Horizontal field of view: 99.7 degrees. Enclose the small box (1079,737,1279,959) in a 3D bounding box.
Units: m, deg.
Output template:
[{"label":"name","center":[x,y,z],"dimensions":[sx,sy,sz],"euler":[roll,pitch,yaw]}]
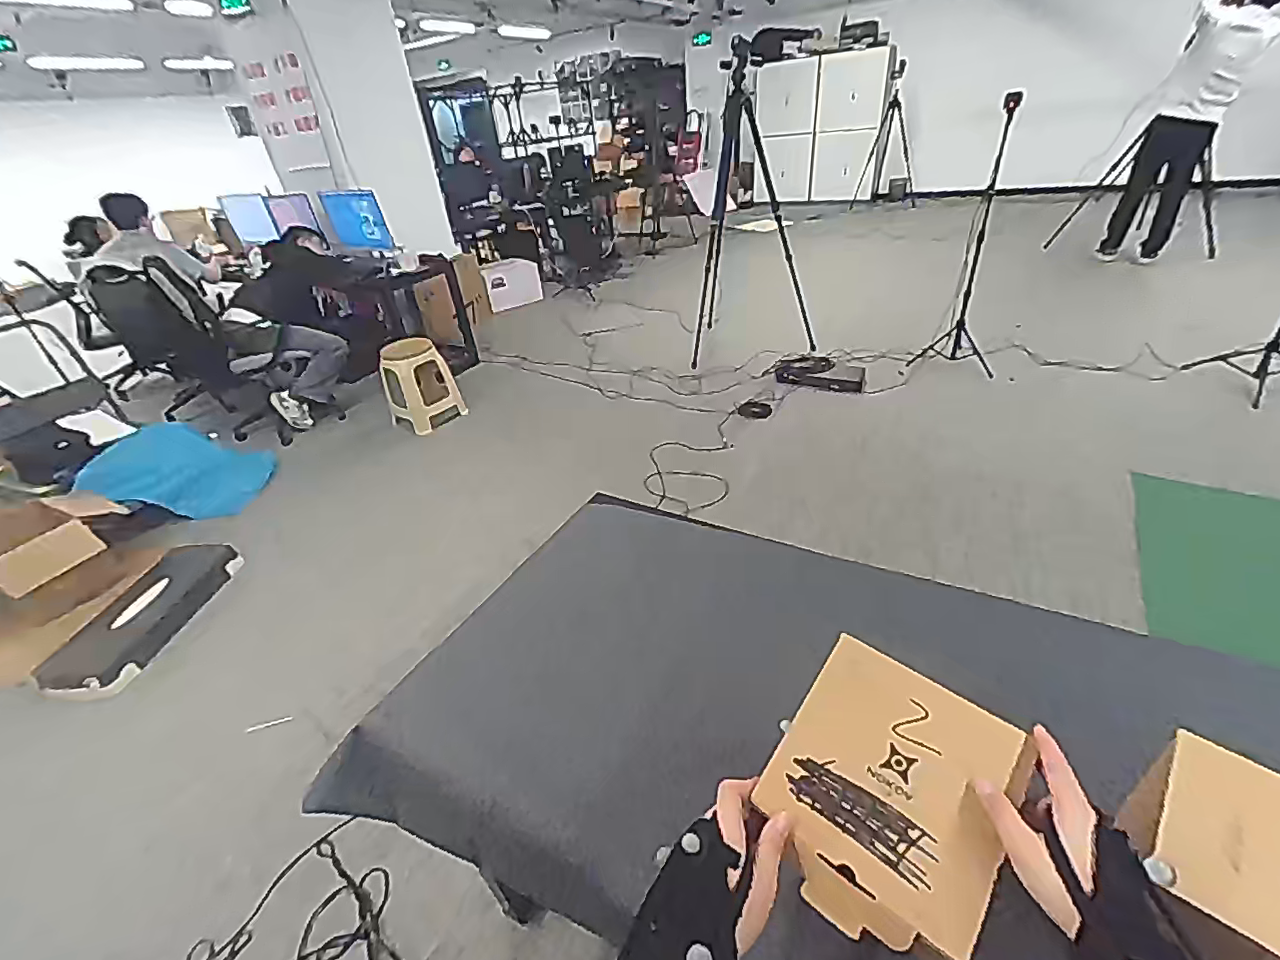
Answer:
[{"label":"small box","center":[0.507,0.364,0.441],"dimensions":[0.179,0.176,0.168],"euler":[24,42,39]}]
